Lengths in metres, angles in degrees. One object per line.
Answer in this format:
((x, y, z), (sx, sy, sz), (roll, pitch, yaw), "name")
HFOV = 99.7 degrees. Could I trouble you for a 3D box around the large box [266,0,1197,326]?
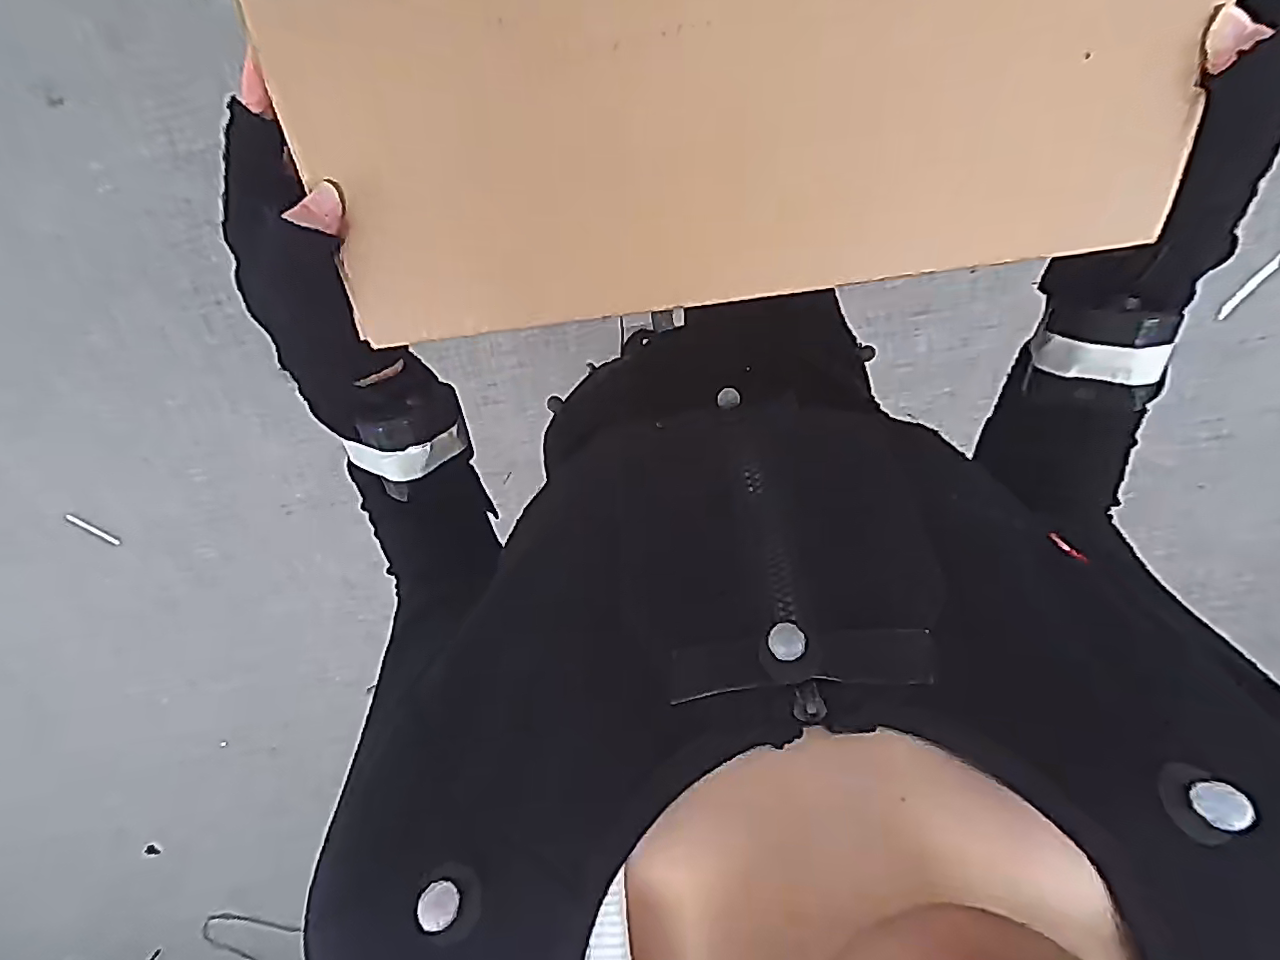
((0.031, -0.313, 0.343), (0.408, 0.320, 0.320), (-7, 120, 3), "large box")
